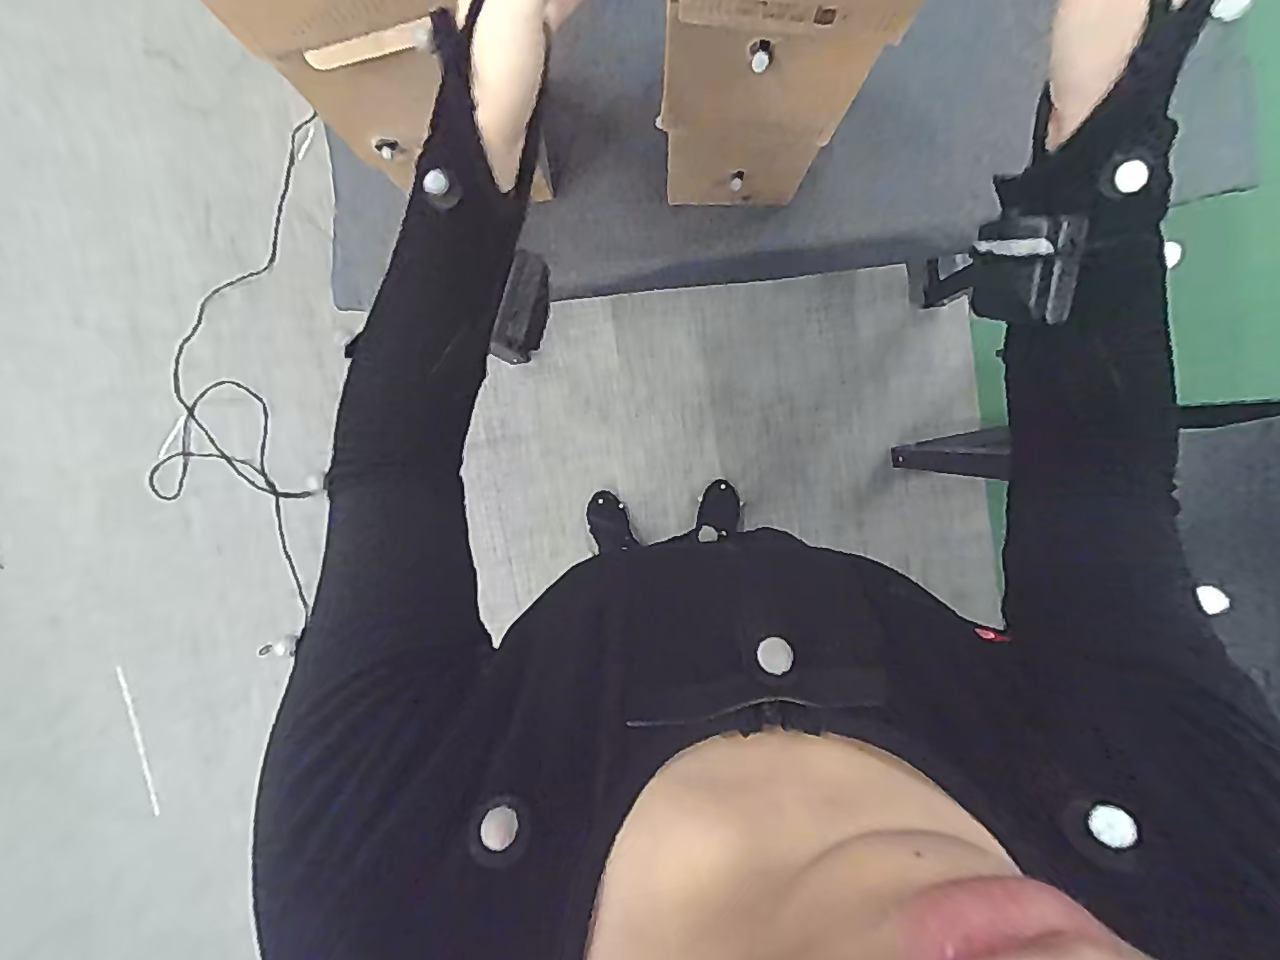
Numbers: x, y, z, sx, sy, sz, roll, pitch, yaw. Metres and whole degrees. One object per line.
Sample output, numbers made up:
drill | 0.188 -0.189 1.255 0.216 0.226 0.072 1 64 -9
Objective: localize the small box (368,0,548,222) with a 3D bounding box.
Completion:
small box | -0.216 -0.439 0.653 0.179 0.176 0.168 -10 92 3

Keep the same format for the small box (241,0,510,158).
small box | -0.231 -0.426 0.489 0.168 0.176 0.179 -14 91 2

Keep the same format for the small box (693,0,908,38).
small box | 0.111 -0.407 0.313 0.168 0.176 0.179 7 94 2

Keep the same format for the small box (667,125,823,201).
small box | 0.116 -0.450 0.639 0.168 0.176 0.179 1 94 3

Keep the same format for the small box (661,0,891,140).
small box | 0.114 -0.431 0.477 0.179 0.176 0.168 6 94 3
